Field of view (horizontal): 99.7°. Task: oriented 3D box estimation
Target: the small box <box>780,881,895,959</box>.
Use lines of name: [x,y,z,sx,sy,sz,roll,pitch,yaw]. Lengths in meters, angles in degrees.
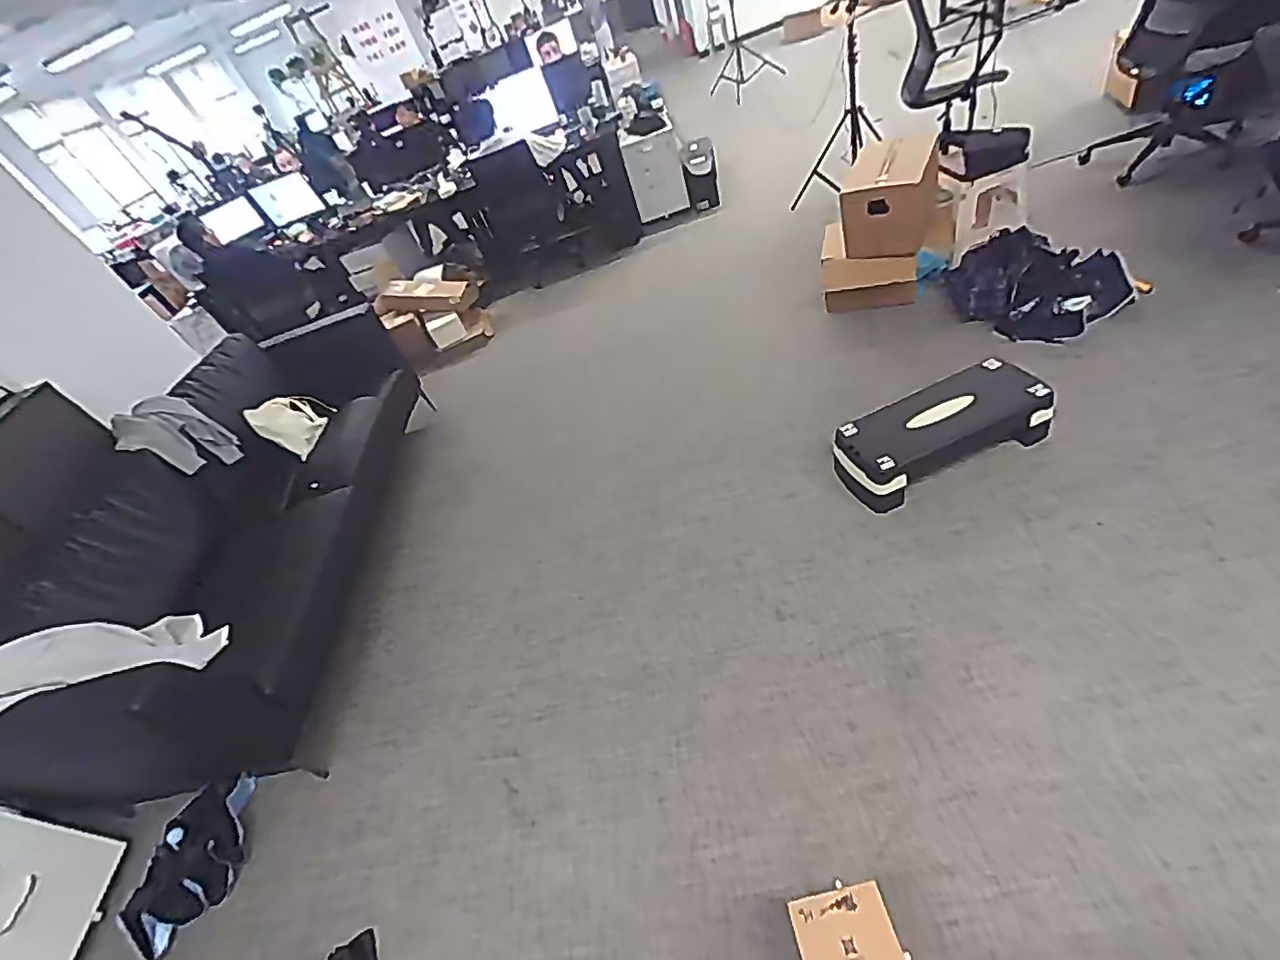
small box: [0.367,0.855,0.973,0.168,0.176,0.179,-19,43,6]
